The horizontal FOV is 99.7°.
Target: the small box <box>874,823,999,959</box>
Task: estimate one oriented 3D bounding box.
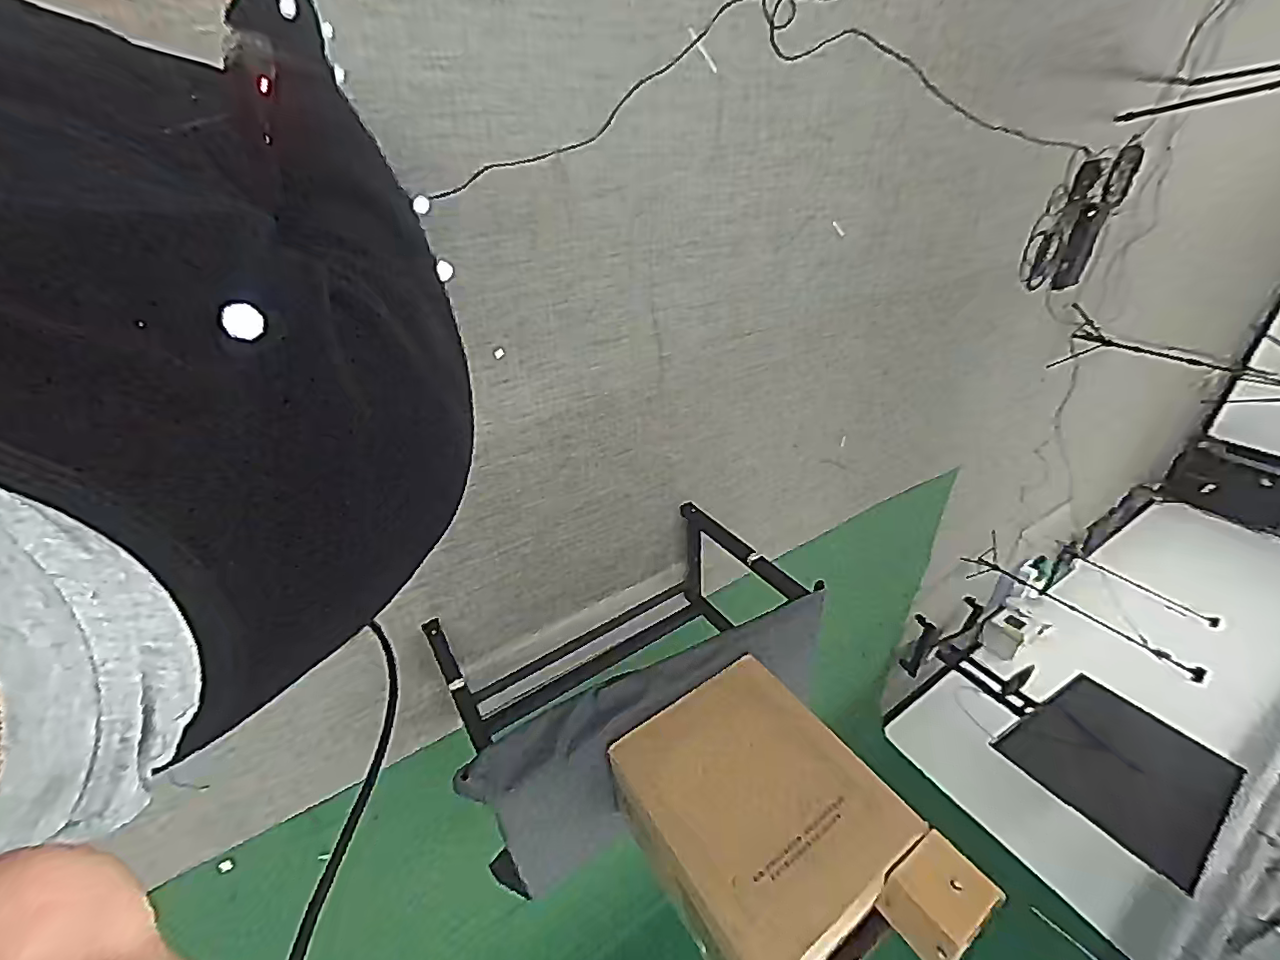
[{"bbox_3d":[0.679,0.948,1.251,0.179,0.176,0.168,-22,127,-29],"label":"small box"}]
